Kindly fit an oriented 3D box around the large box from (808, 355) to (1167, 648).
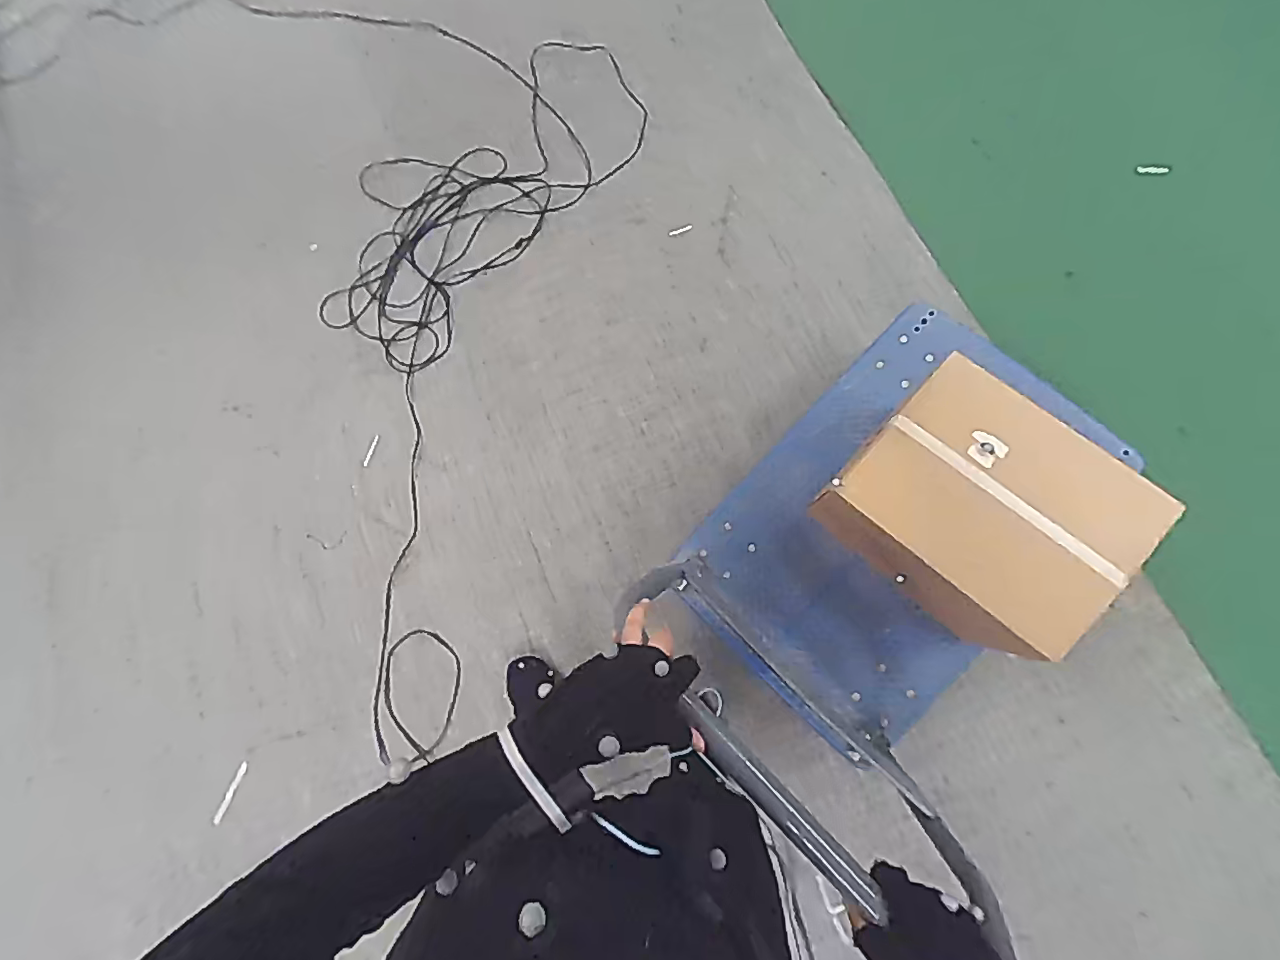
[{"bbox_3d":[0.586,0.047,1.009,0.408,0.320,0.320,40,88,14],"label":"large box"}]
